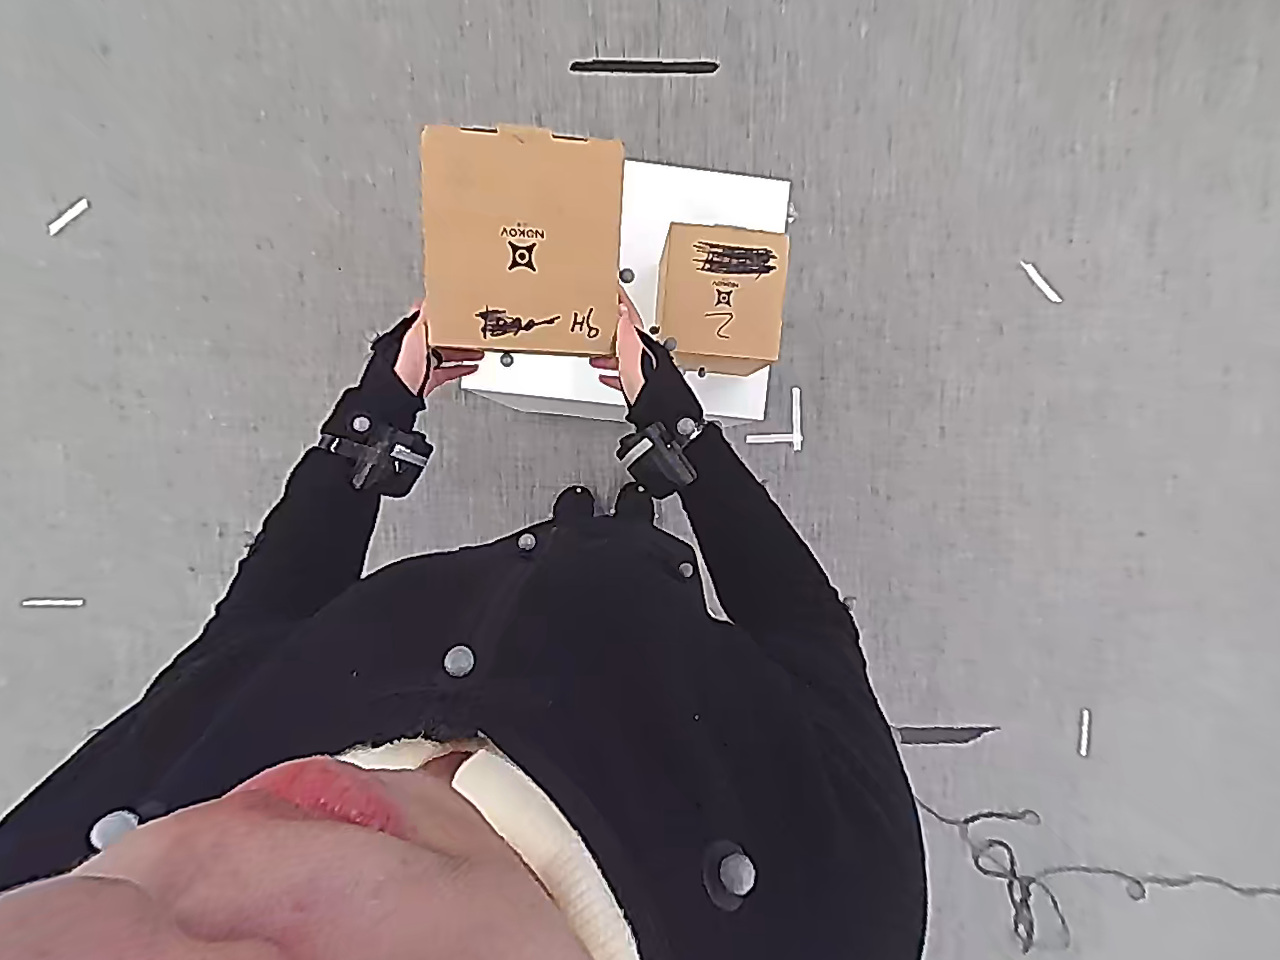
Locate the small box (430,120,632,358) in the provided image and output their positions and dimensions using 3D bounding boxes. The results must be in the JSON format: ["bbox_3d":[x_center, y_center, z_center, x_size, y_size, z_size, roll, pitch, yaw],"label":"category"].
[{"bbox_3d":[-0.099,-0.216,0.533,0.168,0.176,0.179,2,102,-4],"label":"small box"}]
